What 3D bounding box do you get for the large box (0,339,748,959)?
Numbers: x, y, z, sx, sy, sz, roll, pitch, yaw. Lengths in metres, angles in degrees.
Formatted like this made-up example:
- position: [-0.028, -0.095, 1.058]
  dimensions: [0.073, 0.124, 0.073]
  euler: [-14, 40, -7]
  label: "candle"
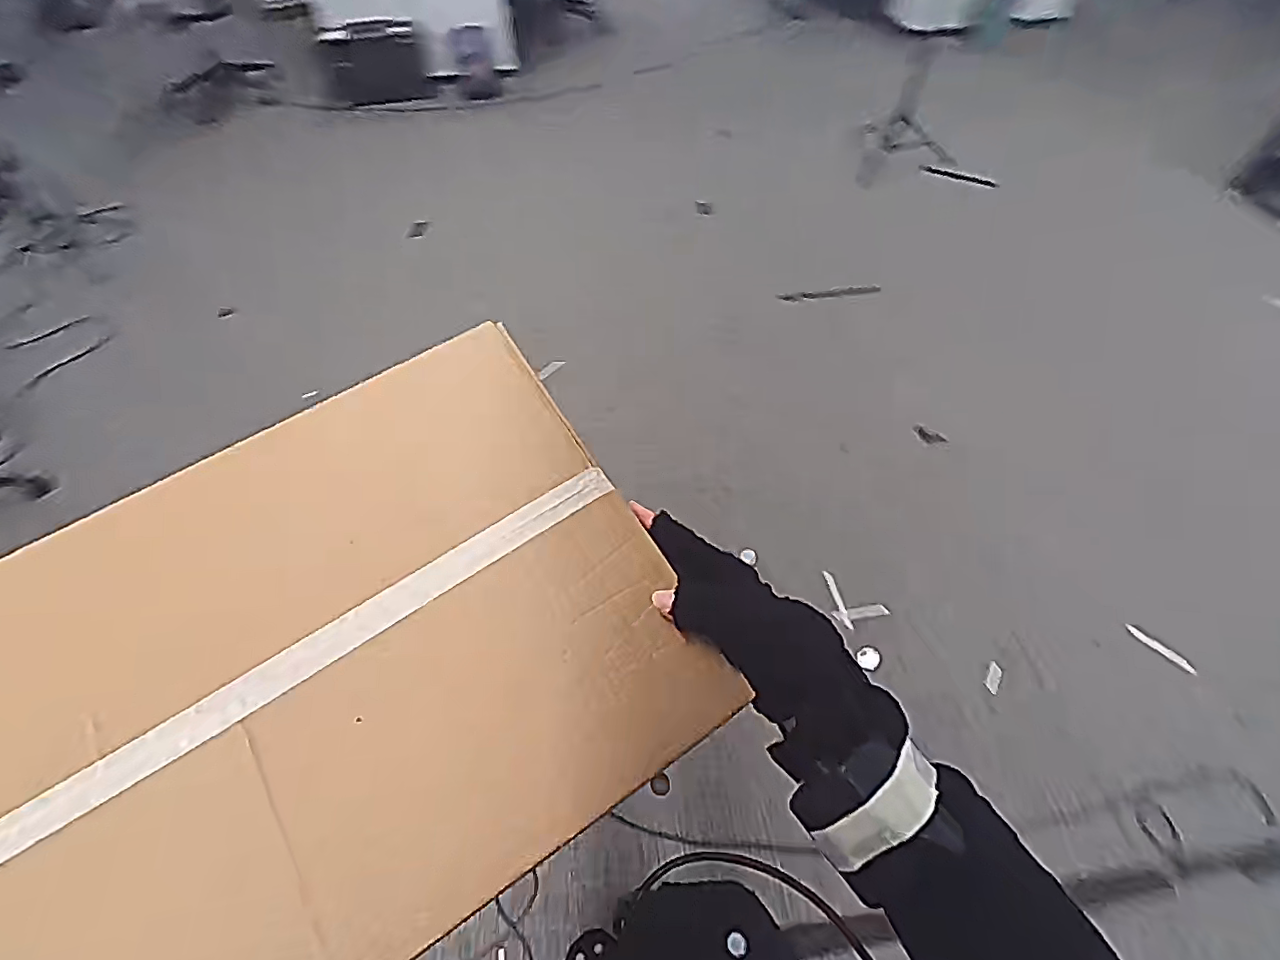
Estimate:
- position: [-0.181, 0.165, 0.451]
  dimensions: [0.408, 0.320, 0.320]
  euler: [-30, 70, -12]
  label: "large box"
